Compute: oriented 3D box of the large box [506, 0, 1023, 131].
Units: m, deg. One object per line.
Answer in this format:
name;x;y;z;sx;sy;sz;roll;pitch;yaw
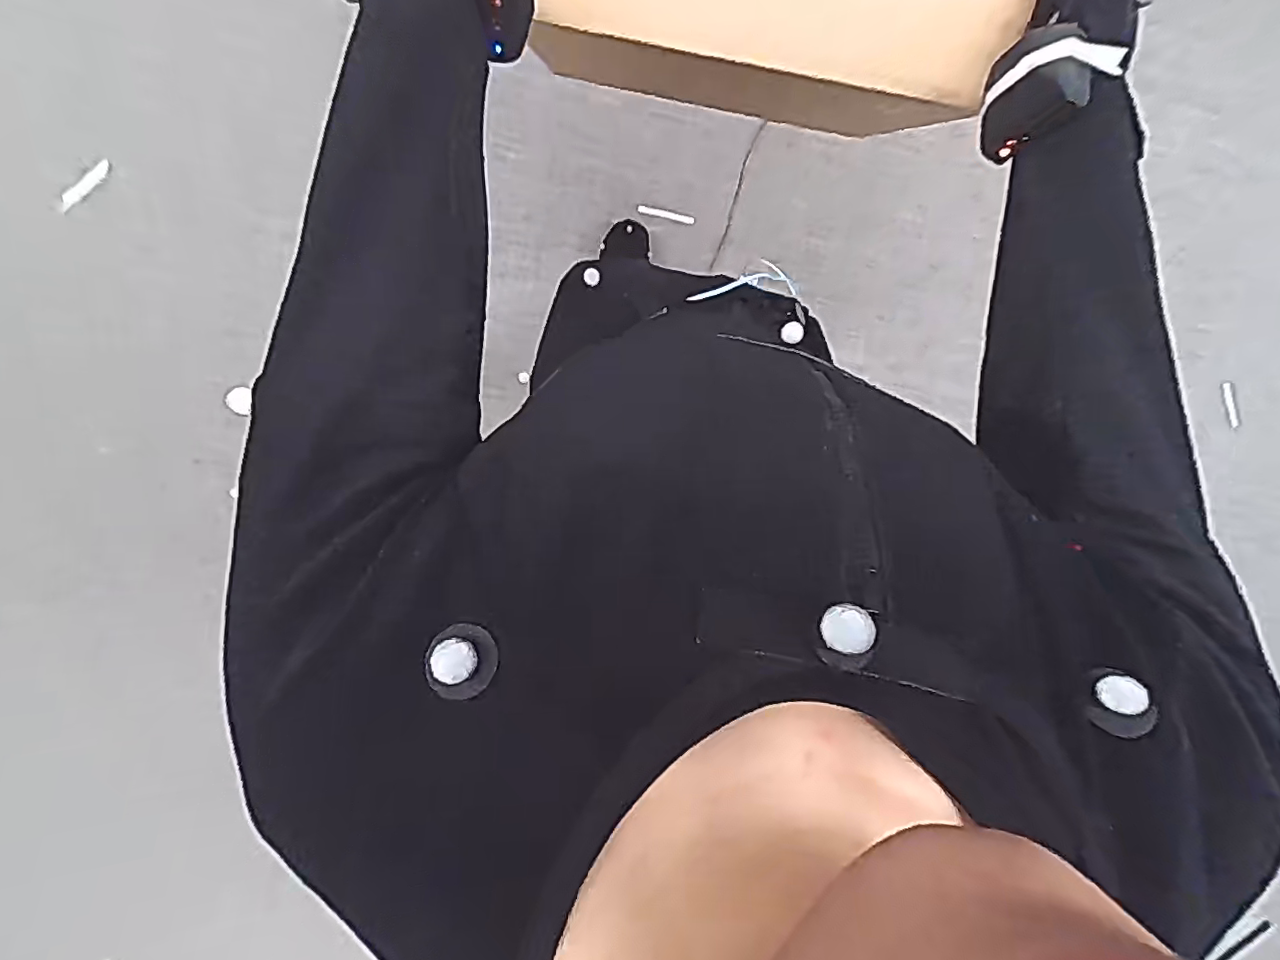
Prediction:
large box;0.110;-0.538;0.490;0.408;0.320;0.320;8;120;-5
